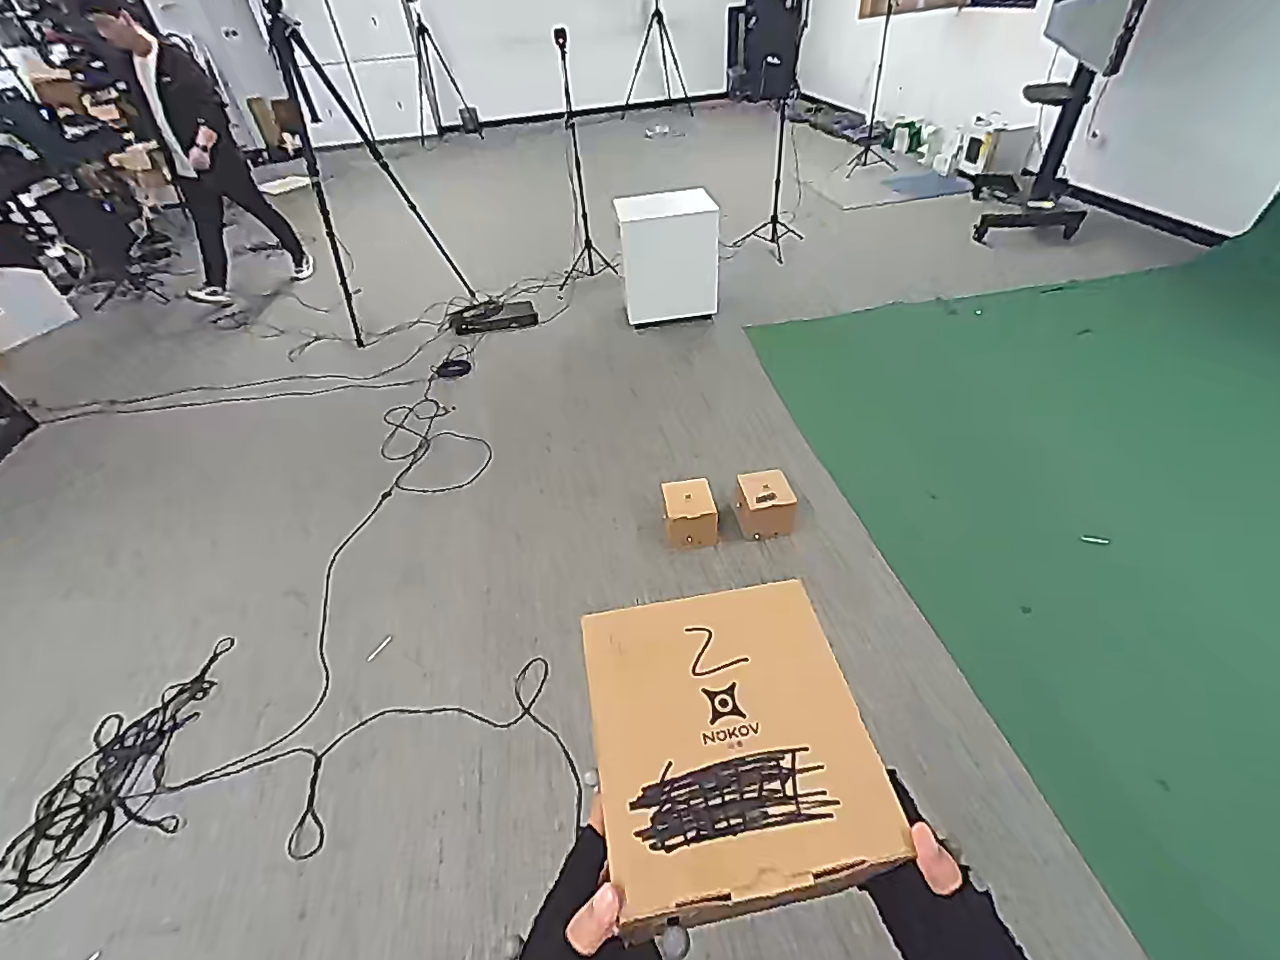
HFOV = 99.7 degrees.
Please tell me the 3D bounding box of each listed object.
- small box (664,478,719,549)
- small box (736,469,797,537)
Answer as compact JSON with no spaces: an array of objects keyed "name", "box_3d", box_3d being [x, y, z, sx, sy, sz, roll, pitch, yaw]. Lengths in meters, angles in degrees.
[{"name":"small box","box_3d":[0.177,0.119,1.916,0.168,0.176,0.179,-8,43,-3]},{"name":"small box","box_3d":[0.445,0.089,1.921,0.168,0.176,0.179,-8,42,-3]}]
